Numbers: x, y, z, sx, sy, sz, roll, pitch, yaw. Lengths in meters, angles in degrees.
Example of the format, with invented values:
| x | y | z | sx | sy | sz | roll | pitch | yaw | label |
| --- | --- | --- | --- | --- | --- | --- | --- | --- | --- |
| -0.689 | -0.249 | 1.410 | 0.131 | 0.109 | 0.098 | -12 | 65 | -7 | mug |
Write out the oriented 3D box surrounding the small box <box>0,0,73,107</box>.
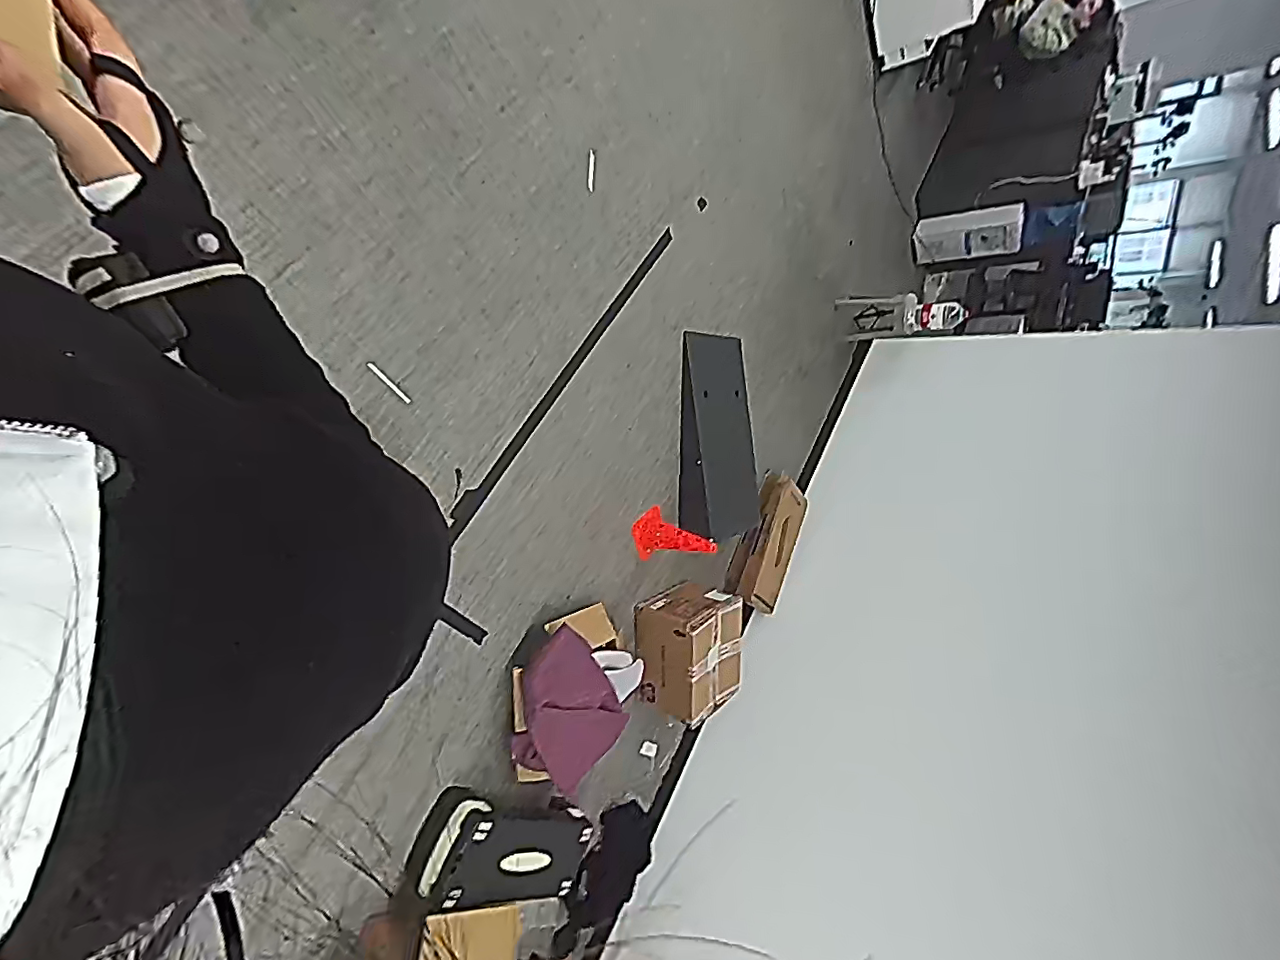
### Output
| x | y | z | sx | sy | sz | roll | pitch | yaw | label |
| --- | --- | --- | --- | --- | --- | --- | --- | --- | --- |
| -0.437 | -0.315 | 0.276 | 0.179 | 0.176 | 0.168 | -13 | 119 | -51 | small box |
